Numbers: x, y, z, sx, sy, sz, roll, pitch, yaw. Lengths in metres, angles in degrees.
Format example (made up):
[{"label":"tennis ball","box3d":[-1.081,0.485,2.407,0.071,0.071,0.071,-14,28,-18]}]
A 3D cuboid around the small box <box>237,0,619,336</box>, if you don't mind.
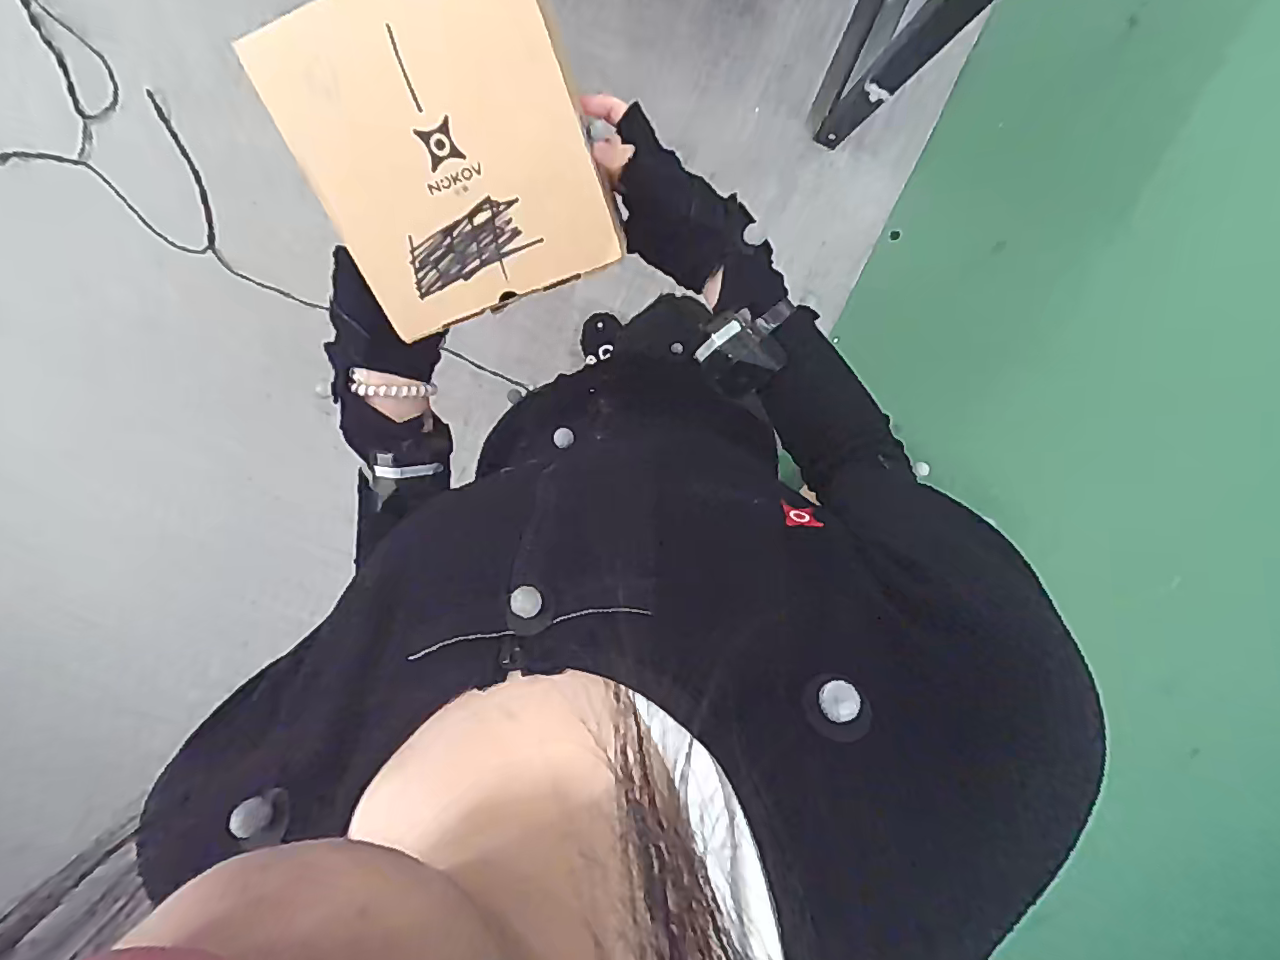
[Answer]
[{"label":"small box","box3d":[-0.117,-0.231,0.390,0.168,0.176,0.179,-17,119,8]}]
